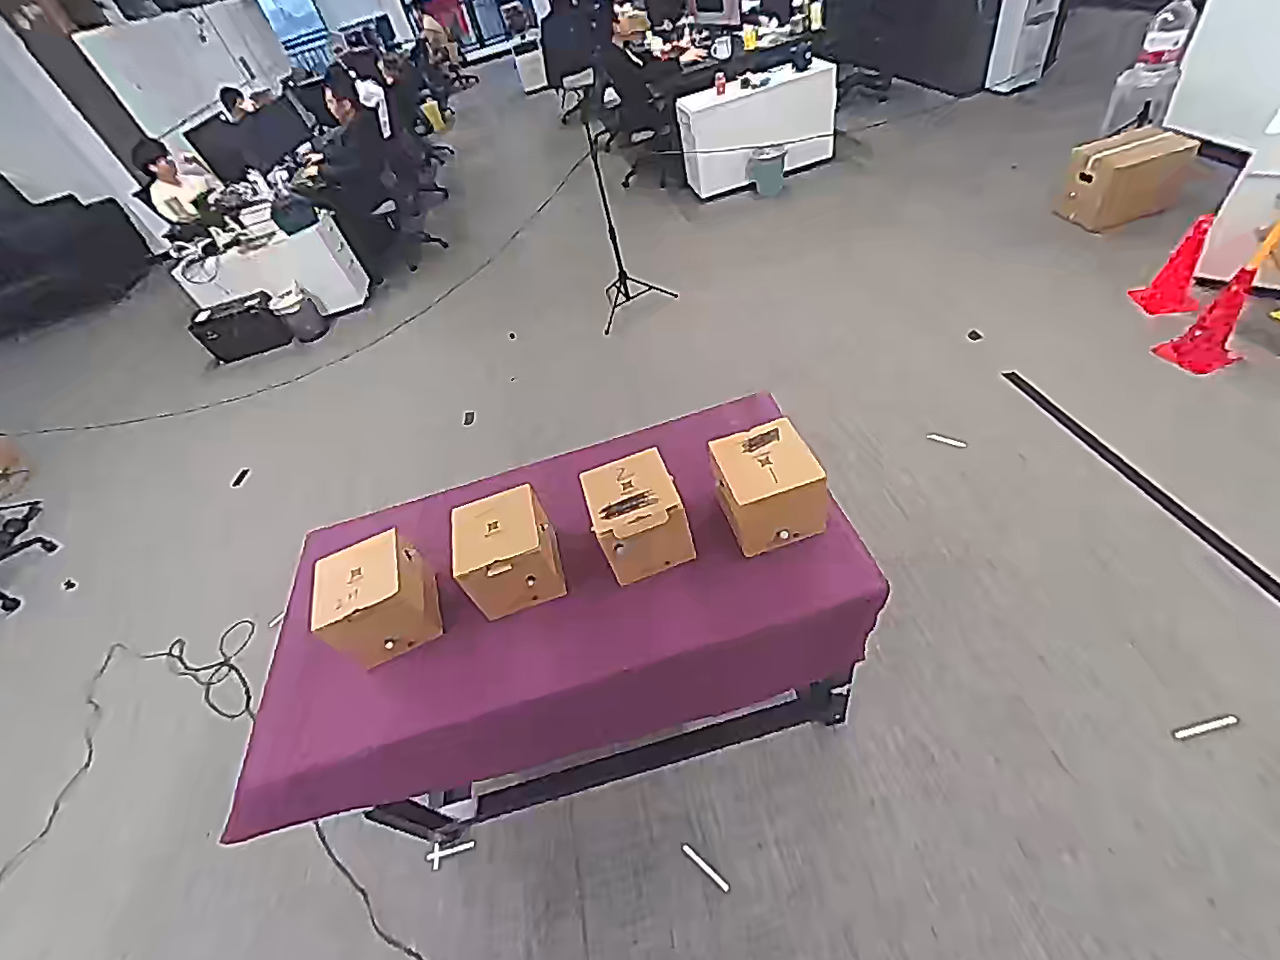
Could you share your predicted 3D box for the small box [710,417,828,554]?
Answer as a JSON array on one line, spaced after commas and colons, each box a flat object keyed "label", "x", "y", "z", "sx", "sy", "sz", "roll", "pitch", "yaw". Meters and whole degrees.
[{"label": "small box", "x": 0.247, "y": 0.012, "z": 1.050, "sx": 0.168, "sy": 0.176, "sz": 0.179, "roll": -19, "pitch": 47, "yaw": 0}]

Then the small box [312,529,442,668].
[{"label": "small box", "x": -0.514, "y": 0.236, "z": 1.073, "sx": 0.168, "sy": 0.176, "sz": 0.179, "roll": -24, "pitch": 47, "yaw": -6}]

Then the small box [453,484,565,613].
[{"label": "small box", "x": -0.260, "y": 0.145, "z": 1.084, "sx": 0.168, "sy": 0.176, "sz": 0.179, "roll": -19, "pitch": 46, "yaw": -2}]
